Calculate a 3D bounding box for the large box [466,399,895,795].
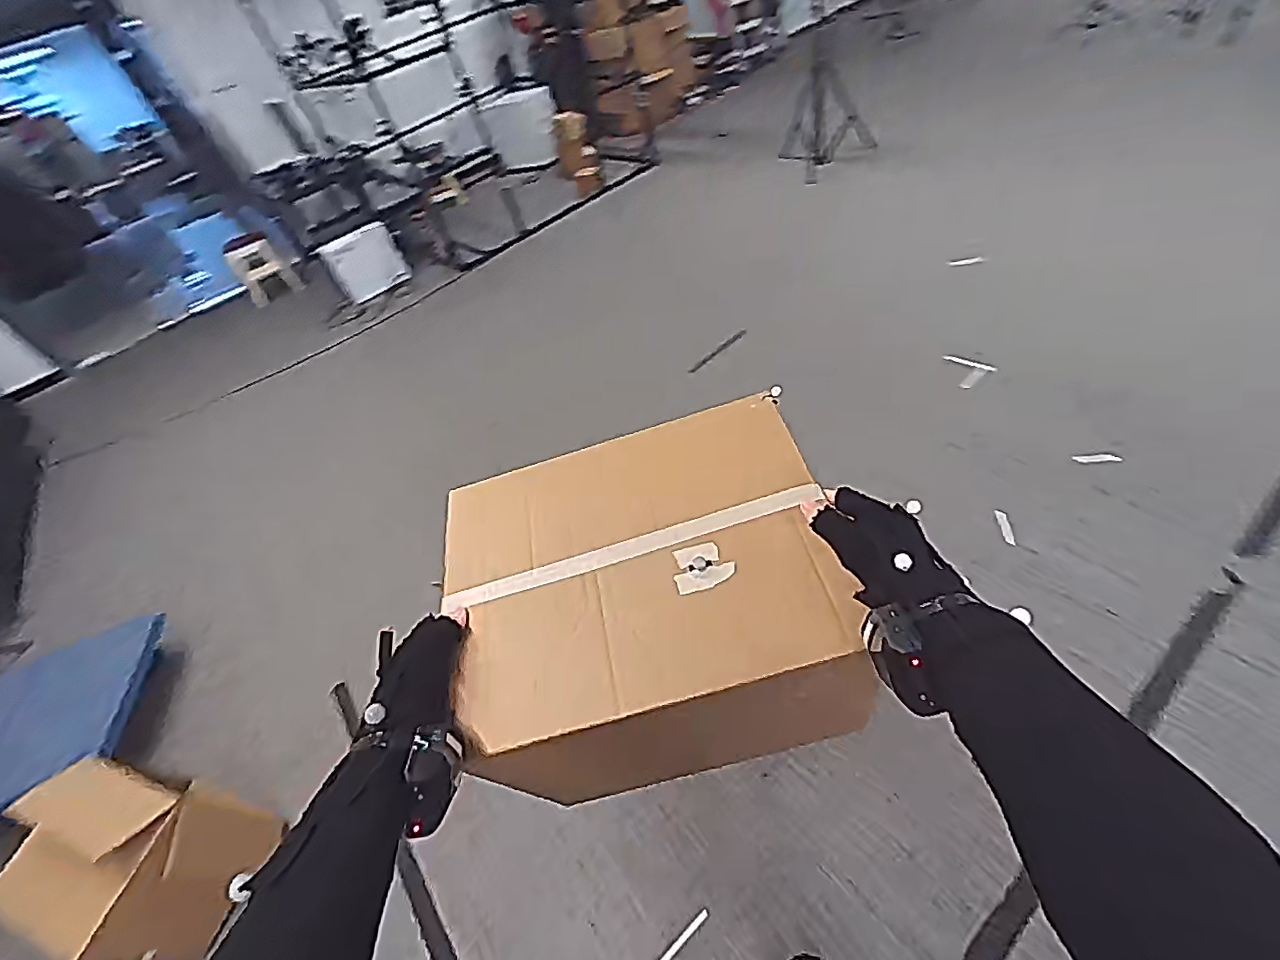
[{"bbox_3d":[0.038,0.161,0.682,0.408,0.320,0.320,-16,52,4],"label":"large box"}]
